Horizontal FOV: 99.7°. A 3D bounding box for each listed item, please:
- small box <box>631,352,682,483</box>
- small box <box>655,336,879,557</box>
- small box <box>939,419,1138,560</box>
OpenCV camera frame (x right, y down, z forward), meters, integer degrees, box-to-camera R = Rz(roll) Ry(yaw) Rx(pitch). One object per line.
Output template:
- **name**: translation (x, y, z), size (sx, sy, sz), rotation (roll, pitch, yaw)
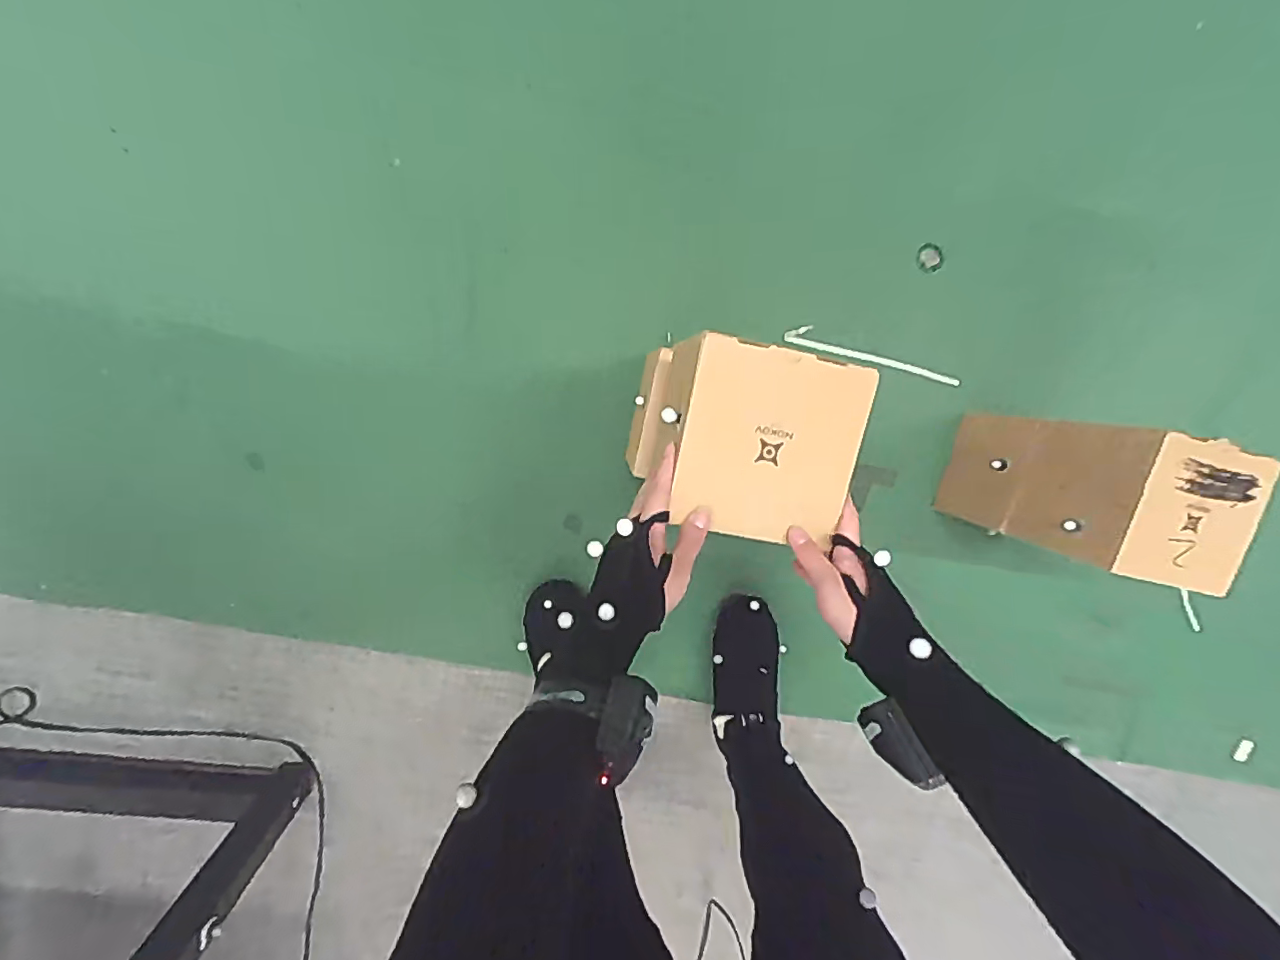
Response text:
- **small box**: translation (0.083, -0.083, 0.806), size (0.168, 0.176, 0.179), rotation (11, 100, -6)
- **small box**: translation (0.113, -0.038, 0.564), size (0.168, 0.176, 0.179), rotation (10, 97, -6)
- **small box**: translation (0.621, 0.005, 0.869), size (0.168, 0.176, 0.179), rotation (14, 99, -7)
